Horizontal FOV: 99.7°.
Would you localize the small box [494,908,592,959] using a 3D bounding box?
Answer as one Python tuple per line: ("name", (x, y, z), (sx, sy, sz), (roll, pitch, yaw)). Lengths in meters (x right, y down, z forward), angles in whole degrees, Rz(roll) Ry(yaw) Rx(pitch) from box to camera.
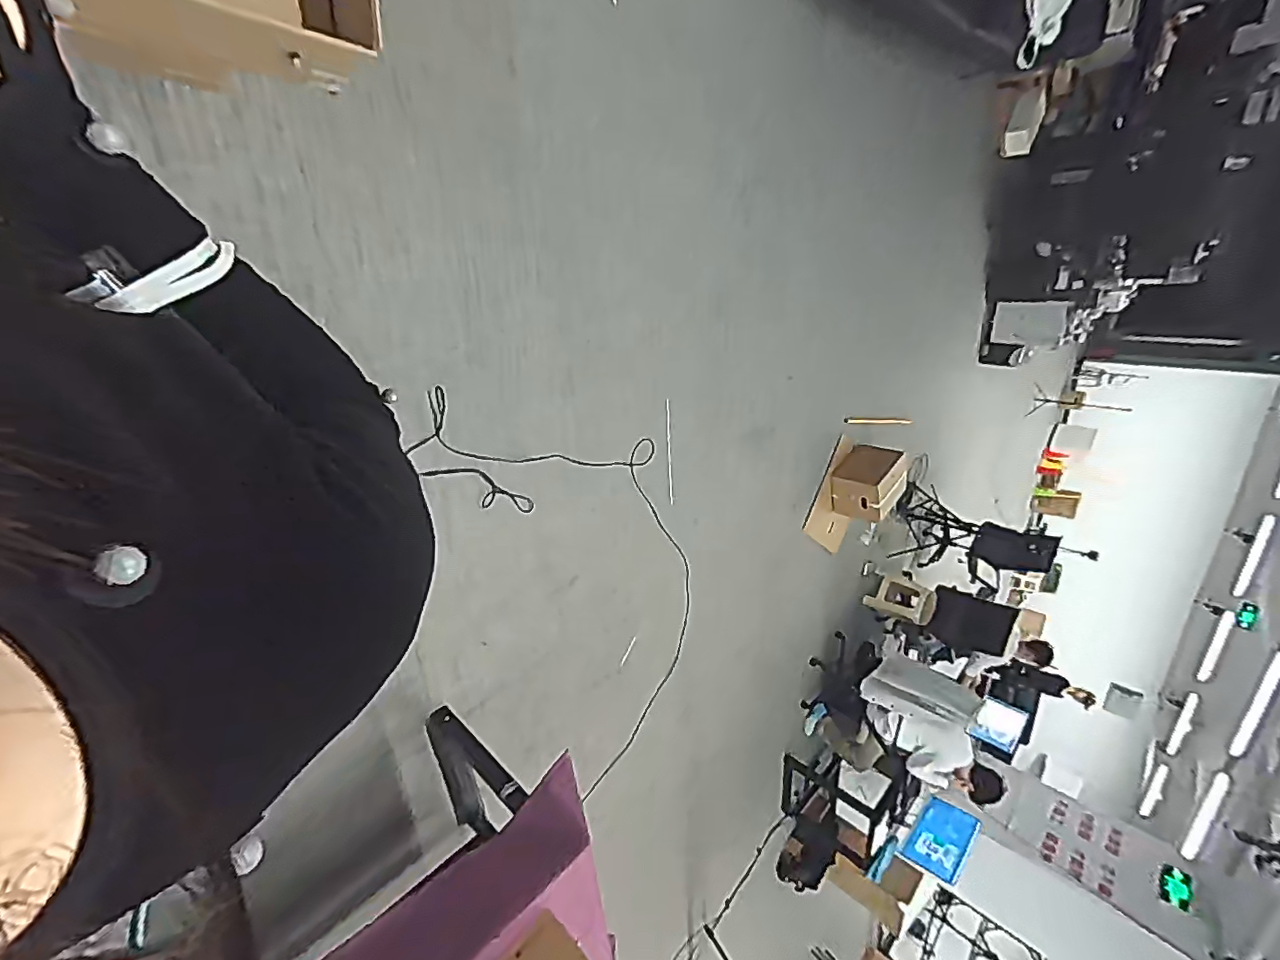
("small box", (-0.213, 1.128, 1.223), (0.168, 0.176, 0.179), (-27, 123, -37))
